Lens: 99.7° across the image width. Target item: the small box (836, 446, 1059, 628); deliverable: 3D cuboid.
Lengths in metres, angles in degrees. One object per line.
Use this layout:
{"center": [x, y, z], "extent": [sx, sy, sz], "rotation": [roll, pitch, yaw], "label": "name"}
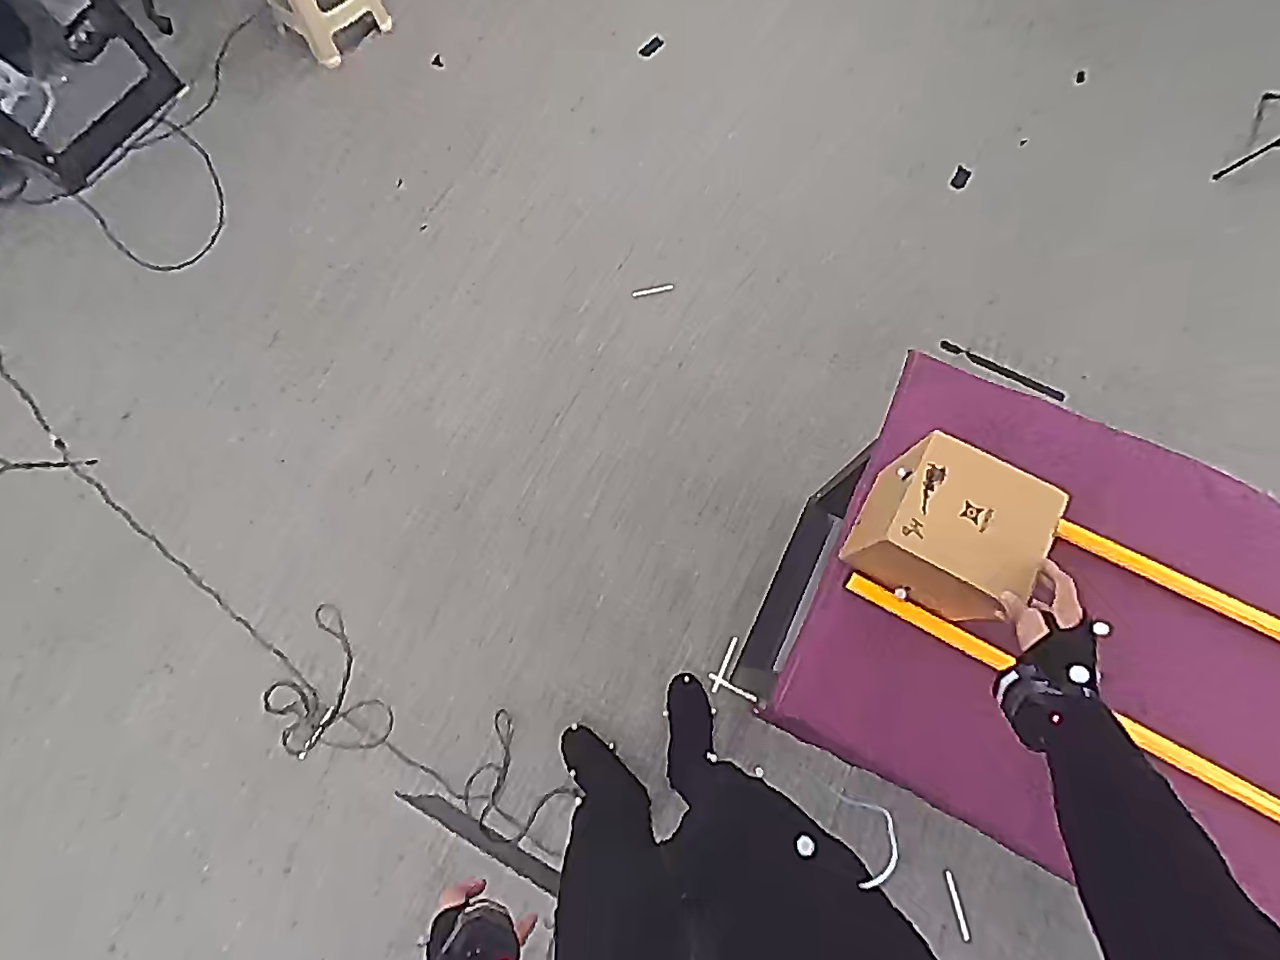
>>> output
{"center": [0.402, 0.084, 0.736], "extent": [0.179, 0.176, 0.168], "rotation": [30, 76, 9], "label": "small box"}
